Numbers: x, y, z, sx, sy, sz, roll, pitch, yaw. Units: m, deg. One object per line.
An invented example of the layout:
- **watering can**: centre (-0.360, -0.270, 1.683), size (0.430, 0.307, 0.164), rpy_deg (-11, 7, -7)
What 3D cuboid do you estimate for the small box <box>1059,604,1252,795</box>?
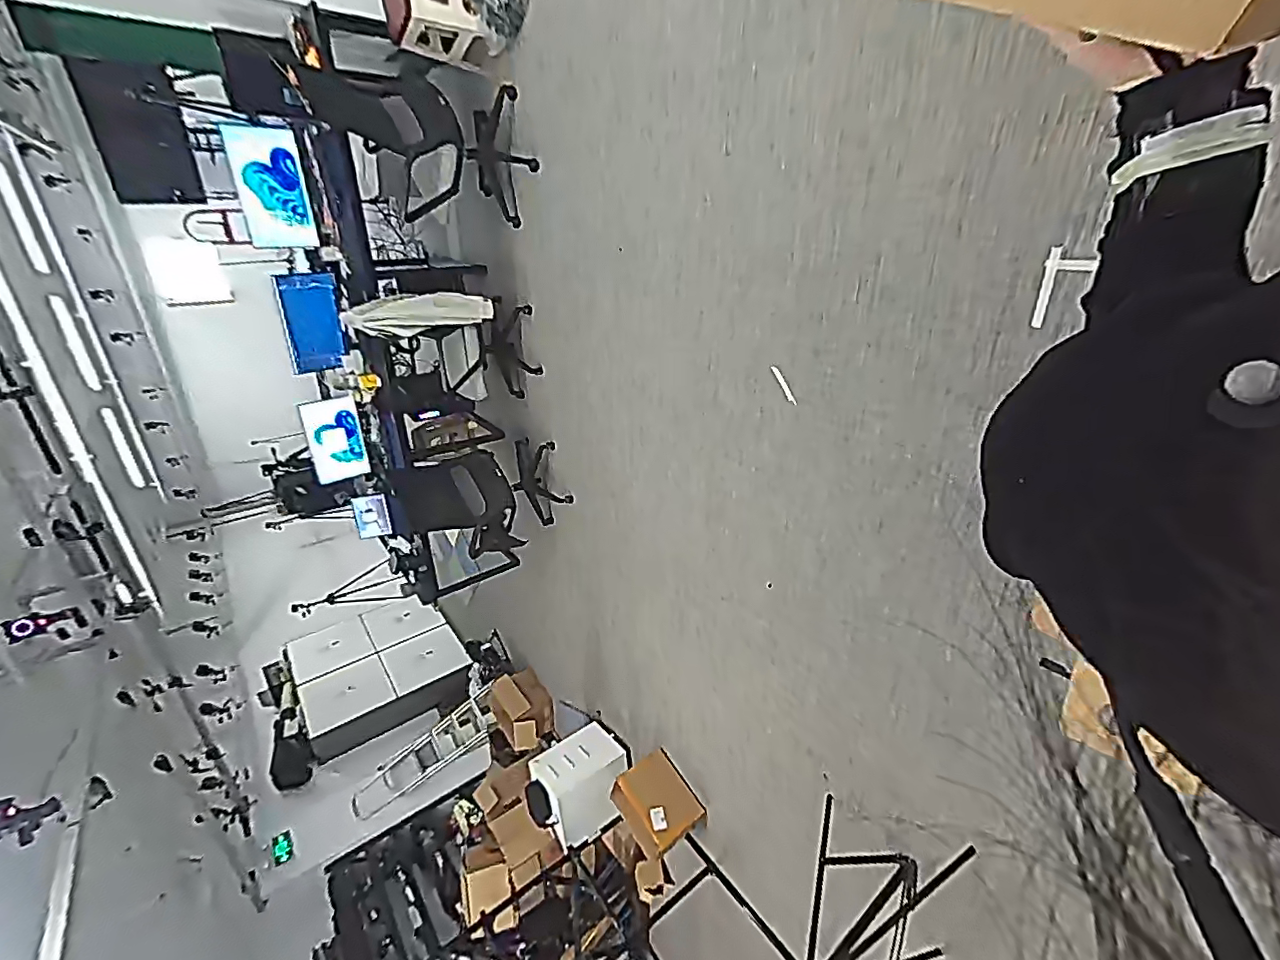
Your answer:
- **small box**: centre (0.778, 0.315, 0.819), size (0.168, 0.176, 0.179), rpy_deg (22, 124, 50)
